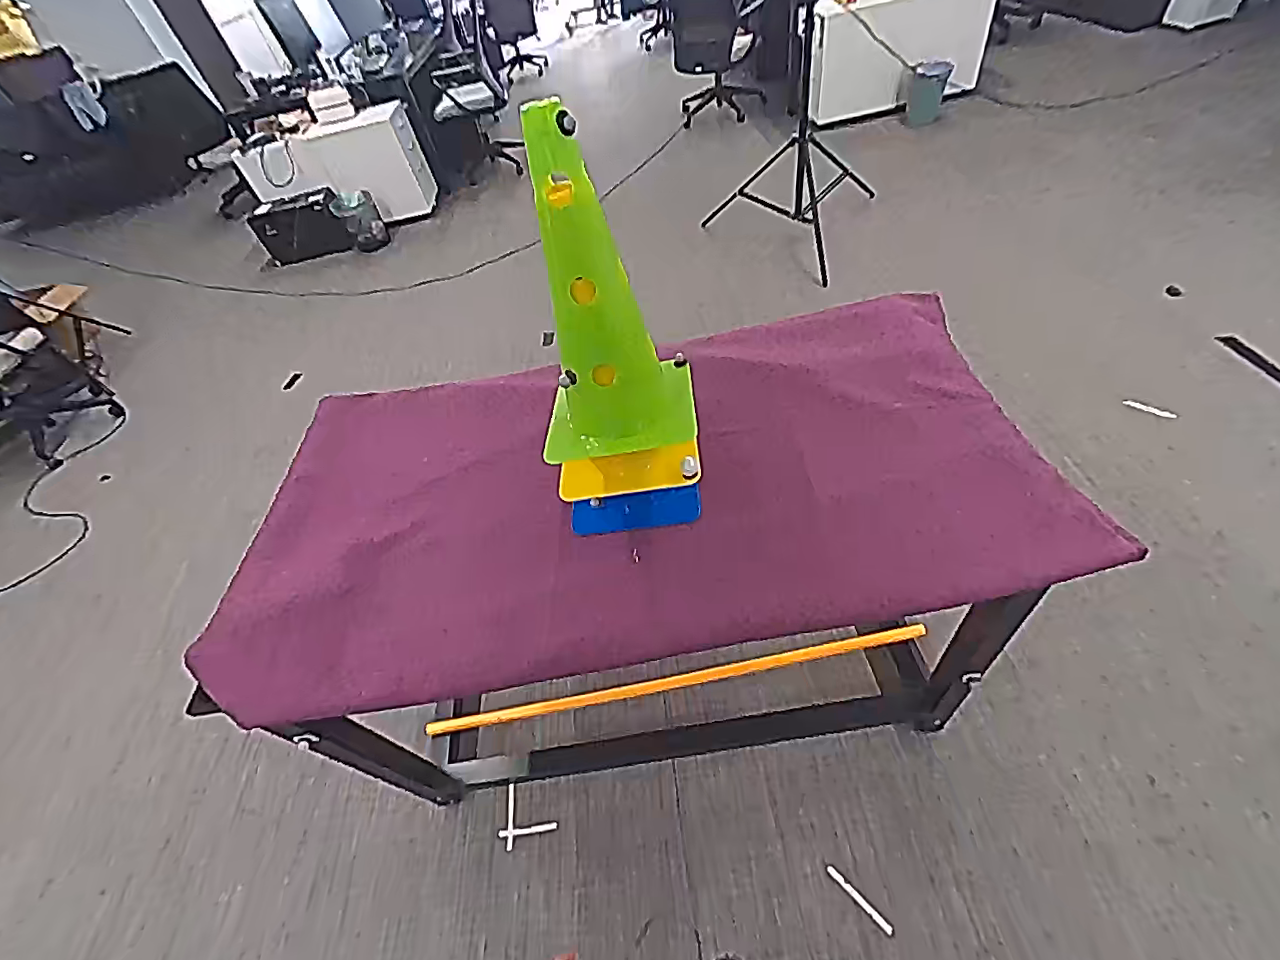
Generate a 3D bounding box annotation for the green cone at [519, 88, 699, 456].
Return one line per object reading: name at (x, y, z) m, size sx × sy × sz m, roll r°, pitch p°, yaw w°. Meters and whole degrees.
green cone at (-0.061, -0.232, 0.626) m, size 0.200 × 0.368 × 0.202 m, roll -9°, pitch 42°, yaw 8°
